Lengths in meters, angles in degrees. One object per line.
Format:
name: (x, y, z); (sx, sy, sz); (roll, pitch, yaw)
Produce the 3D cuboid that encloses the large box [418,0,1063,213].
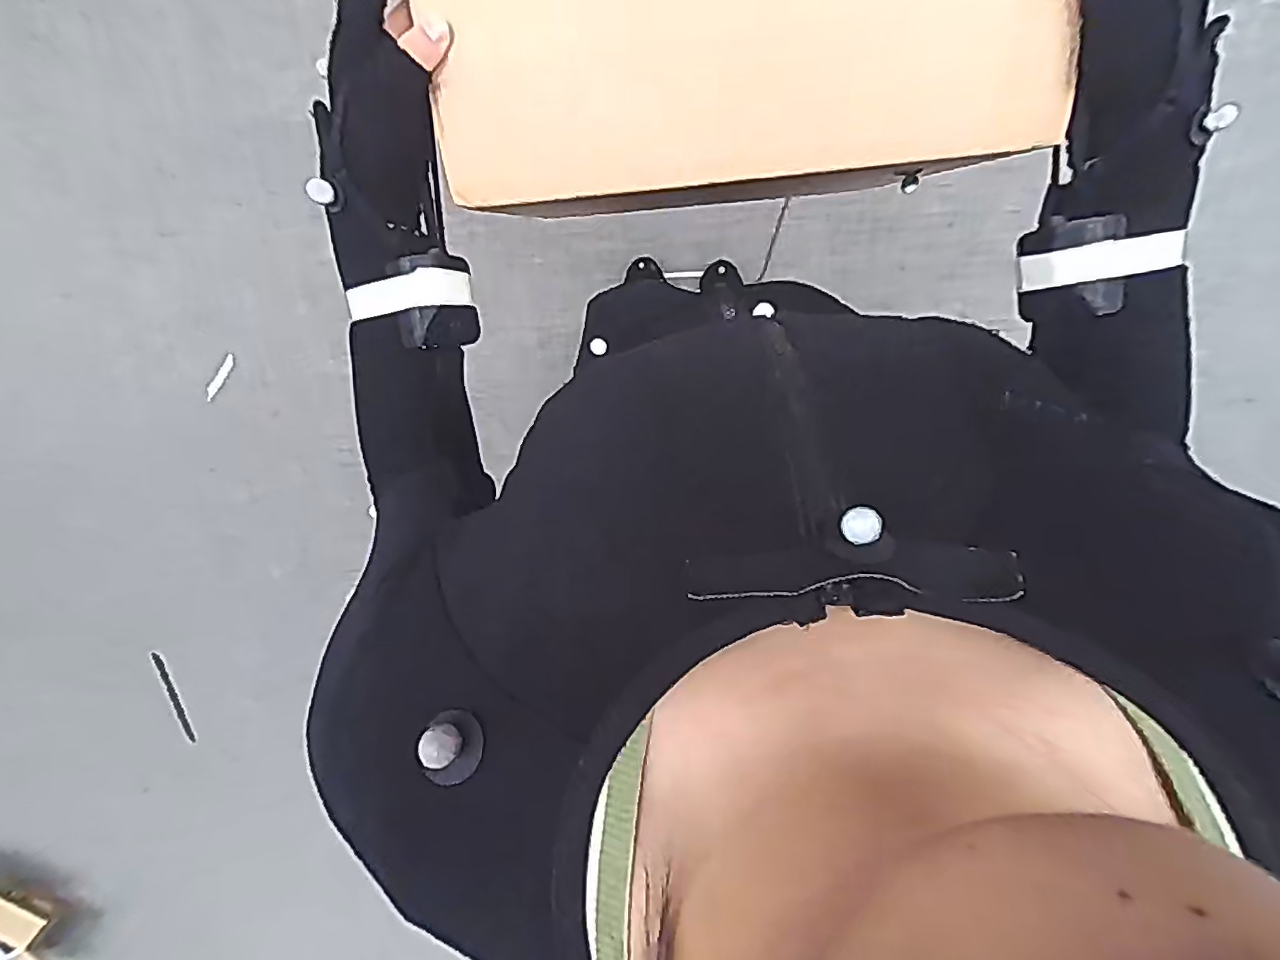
large box: (0.060, -0.410, 0.445); (0.408, 0.320, 0.320); (-4, 114, 3)
